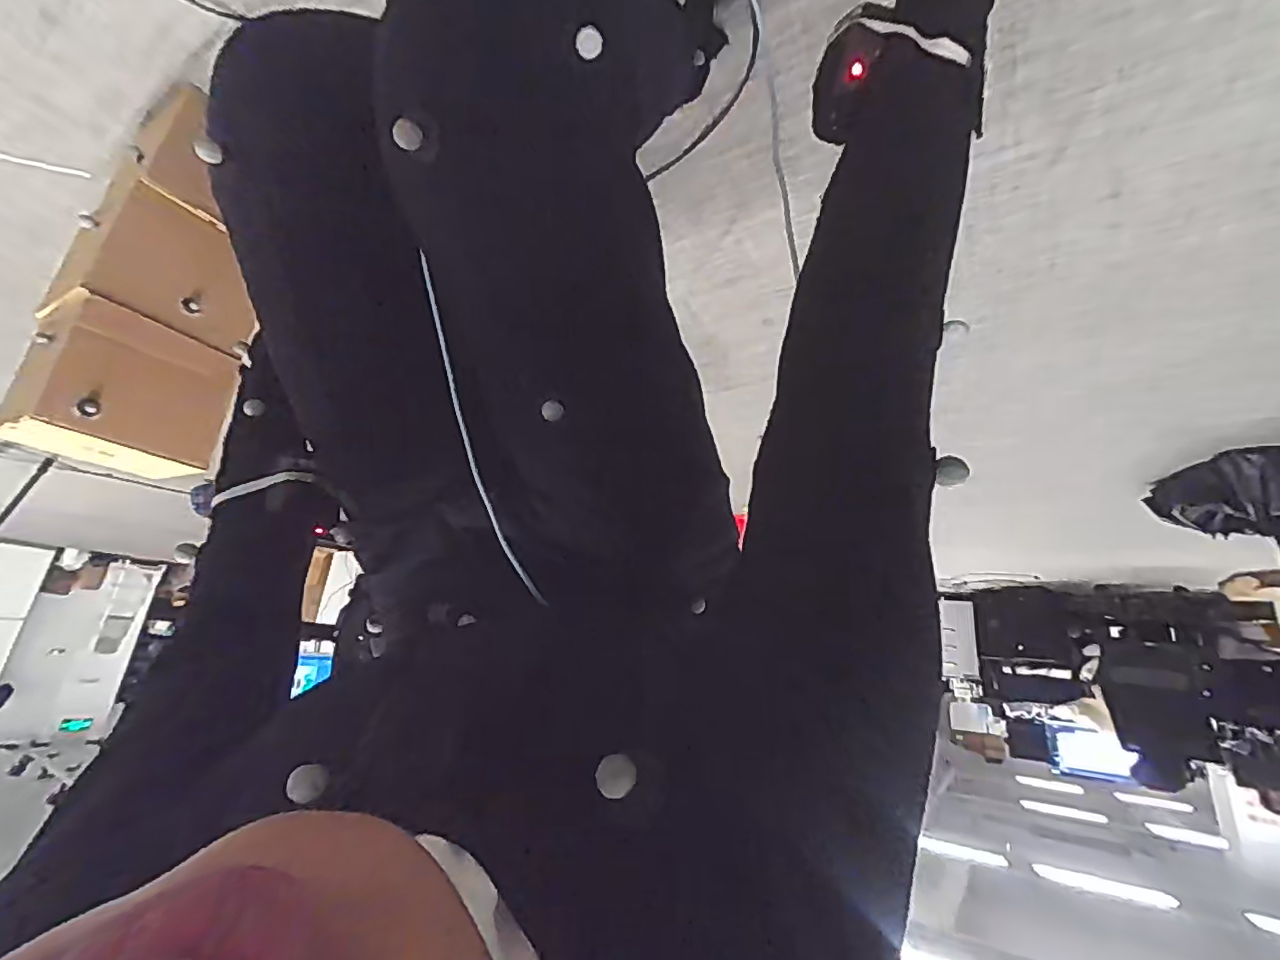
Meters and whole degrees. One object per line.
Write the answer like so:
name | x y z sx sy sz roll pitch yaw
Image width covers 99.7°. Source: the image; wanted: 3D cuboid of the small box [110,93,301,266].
small box | -0.644 -0.427 0.811 0.179 0.176 0.168 -5 159 29

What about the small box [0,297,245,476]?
small box | -0.677 -0.114 0.721 0.168 0.176 0.179 -4 159 29

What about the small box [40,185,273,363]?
small box | -0.667 -0.270 0.764 0.168 0.176 0.179 -4 159 28
